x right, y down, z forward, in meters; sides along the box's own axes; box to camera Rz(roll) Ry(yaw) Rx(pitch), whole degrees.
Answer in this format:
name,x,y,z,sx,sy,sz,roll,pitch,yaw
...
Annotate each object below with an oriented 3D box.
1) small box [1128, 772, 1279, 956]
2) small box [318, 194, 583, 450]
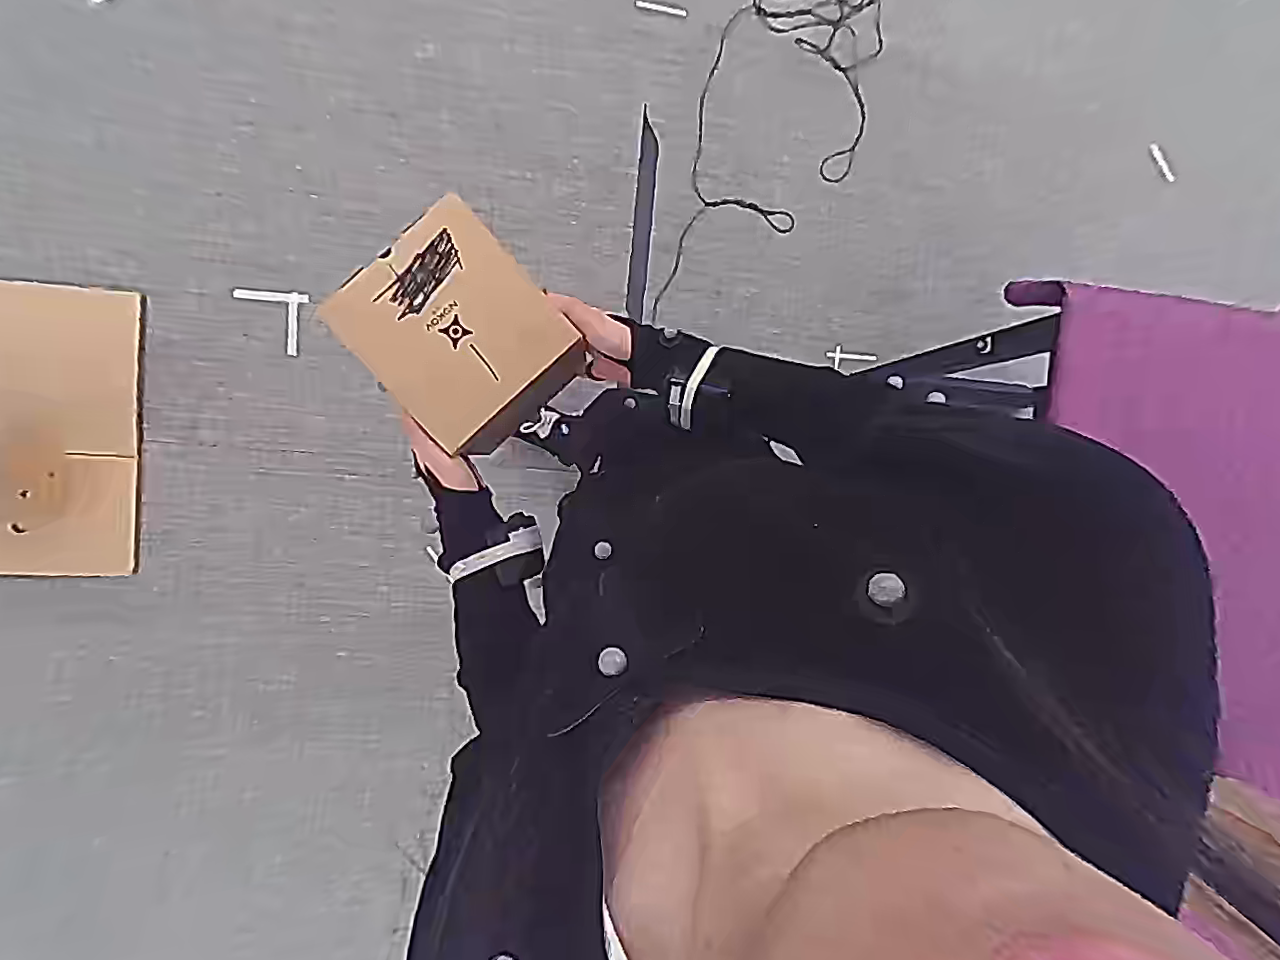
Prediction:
name,x,y,z,sx,sy,sz,roll,pitch,yaw
small box,0.912,0.573,0.823,0.179,0.176,0.168,10,90,-8
small box,-0.176,-0.144,0.565,0.168,0.176,0.179,-42,95,-1
